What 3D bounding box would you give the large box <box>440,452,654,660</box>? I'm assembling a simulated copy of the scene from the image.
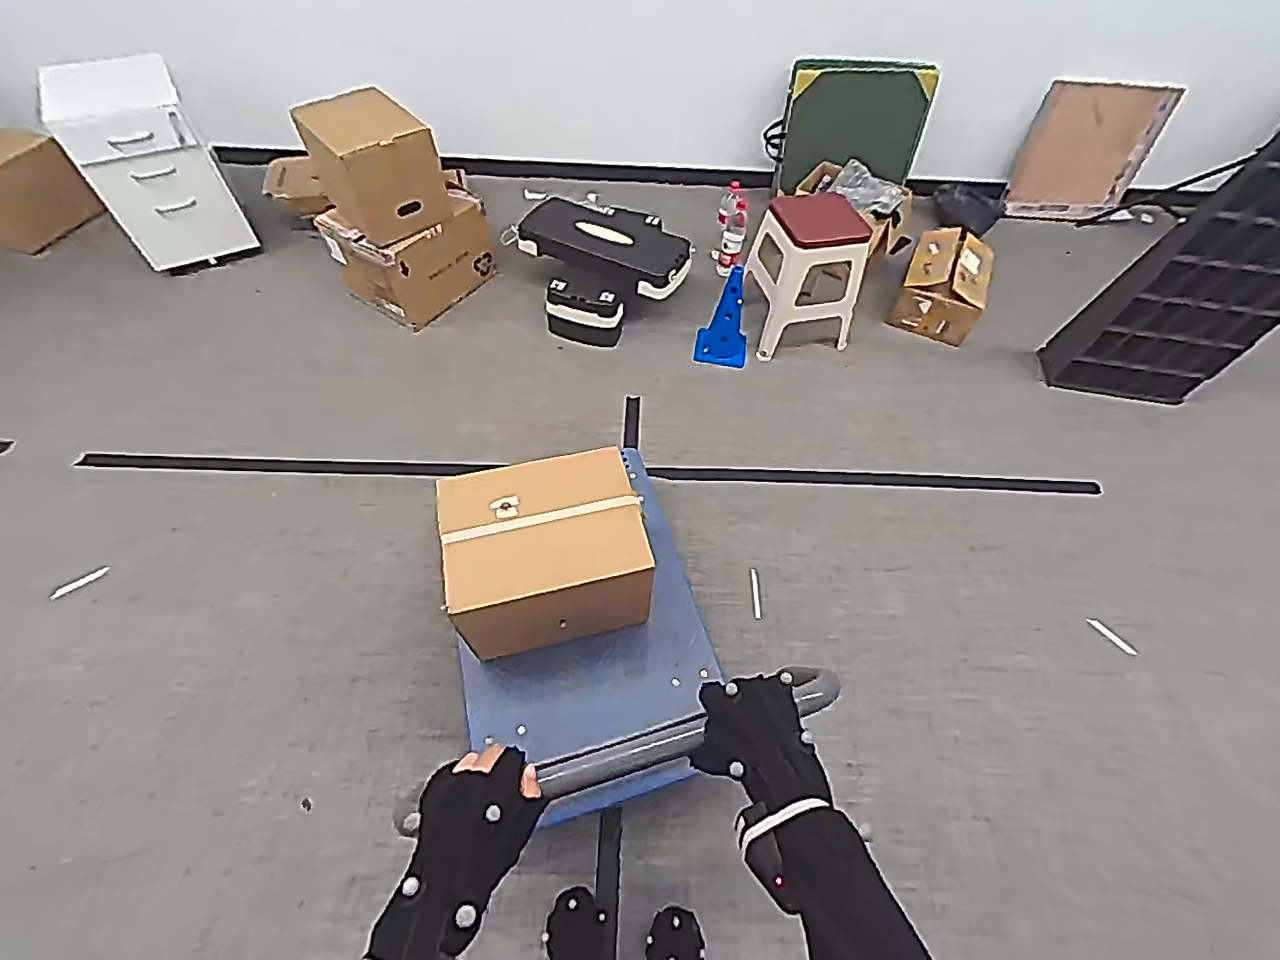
[{"bbox_3d":[-0.205,0.180,1.245,0.408,0.320,0.320,-12,57,-10],"label":"large box"}]
